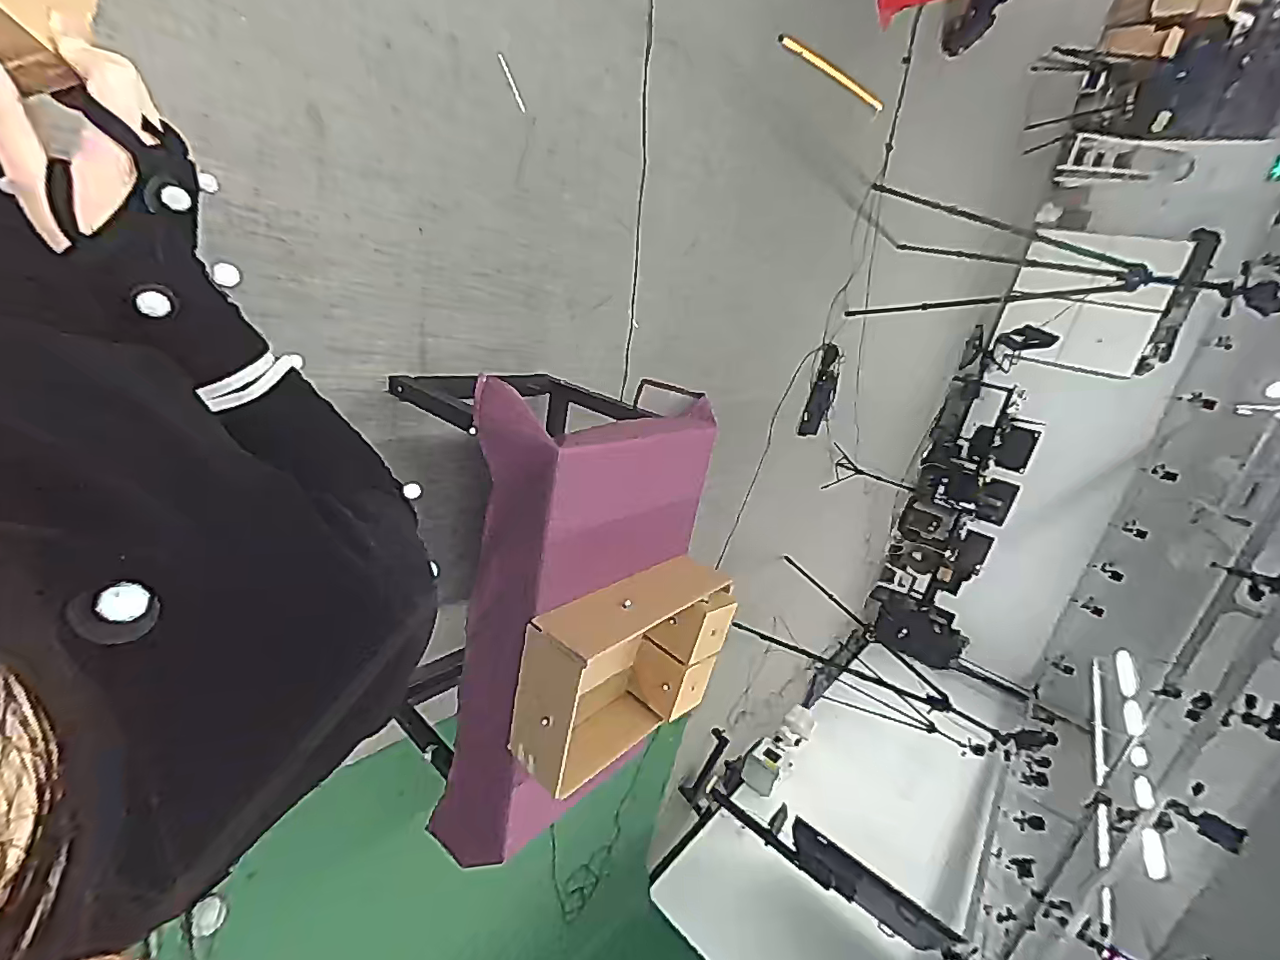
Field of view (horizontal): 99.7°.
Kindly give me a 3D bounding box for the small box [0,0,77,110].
[{"bbox_3d":[-0.397,-0.289,0.232,0.168,0.179,0.176,61,18,-76],"label":"small box"}]
